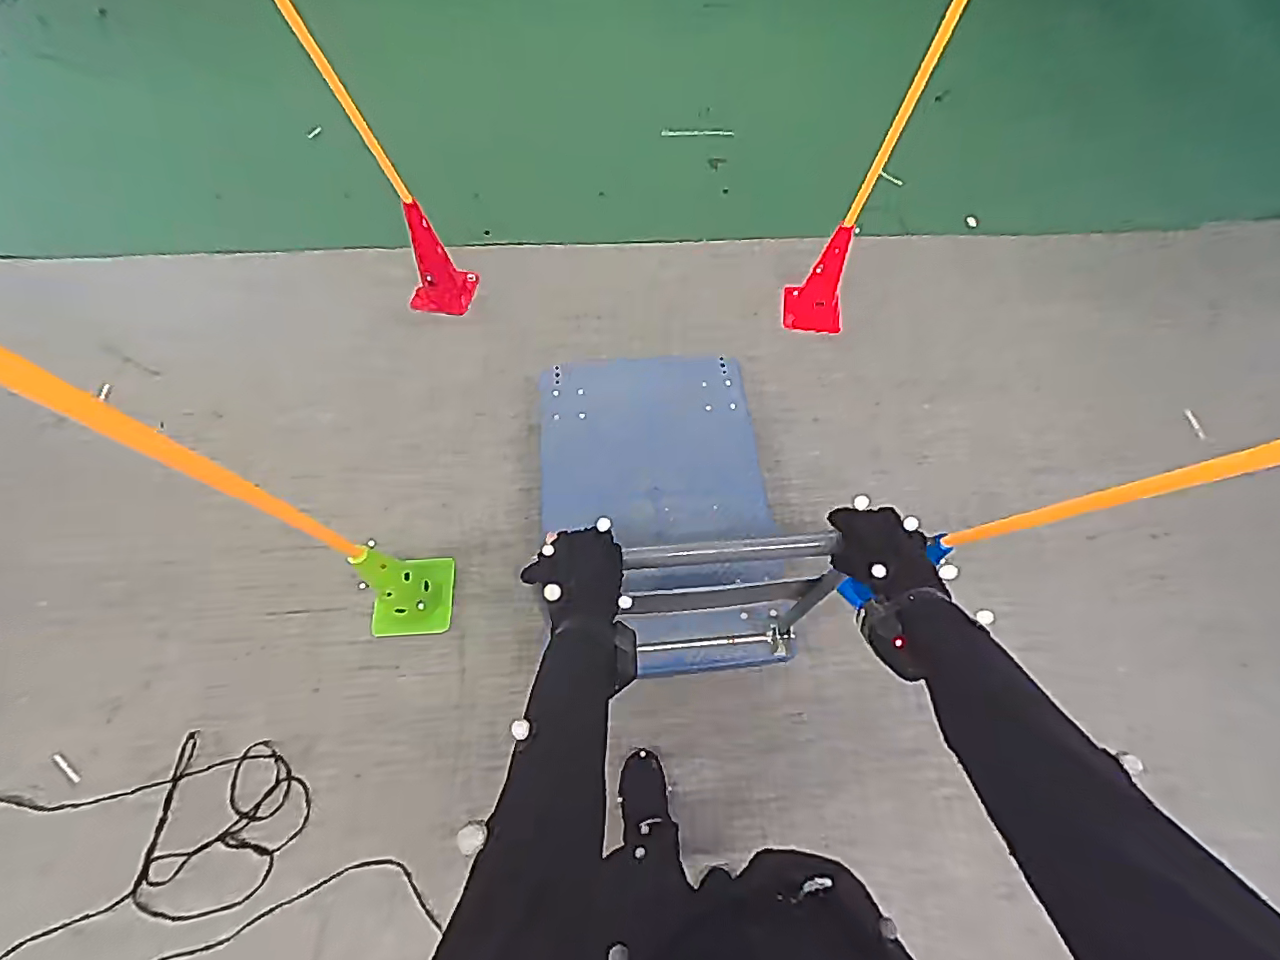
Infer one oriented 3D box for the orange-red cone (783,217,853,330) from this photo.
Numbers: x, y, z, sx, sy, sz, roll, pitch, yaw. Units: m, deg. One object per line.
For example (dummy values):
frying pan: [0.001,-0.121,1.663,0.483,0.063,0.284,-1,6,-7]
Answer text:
orange-red cone: [0.605,-0.680,1.739,0.198,0.360,0.199,7,65,3]
